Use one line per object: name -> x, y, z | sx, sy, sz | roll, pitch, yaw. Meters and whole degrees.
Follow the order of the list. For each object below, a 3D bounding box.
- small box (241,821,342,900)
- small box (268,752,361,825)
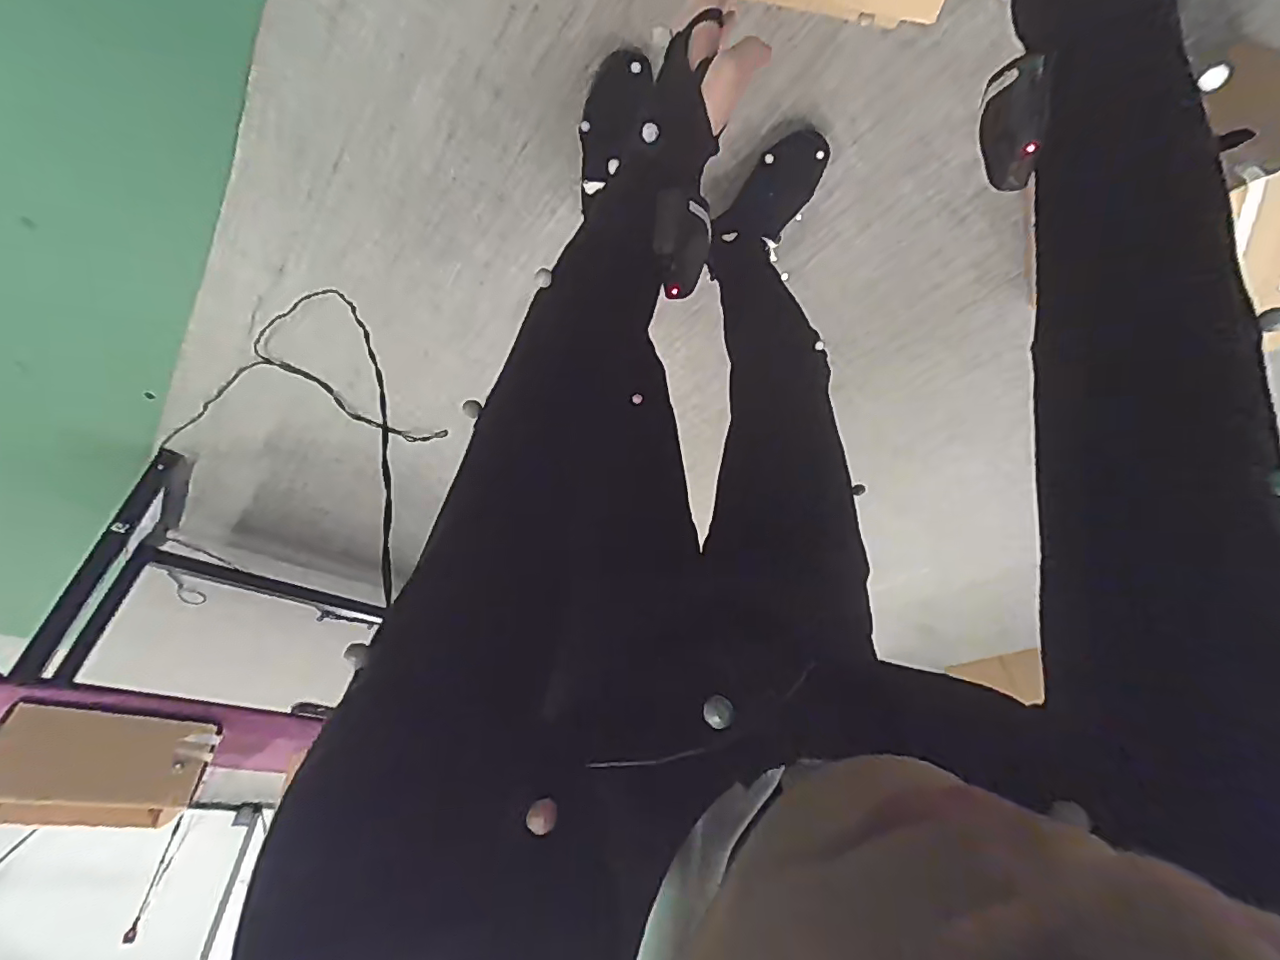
small box -> -0.932, 1.023, 1.457 | 0.168, 0.176, 0.179 | 28, 134, -30
small box -> -0.929, 0.891, 1.555 | 0.168, 0.176, 0.179 | 28, 135, -31
